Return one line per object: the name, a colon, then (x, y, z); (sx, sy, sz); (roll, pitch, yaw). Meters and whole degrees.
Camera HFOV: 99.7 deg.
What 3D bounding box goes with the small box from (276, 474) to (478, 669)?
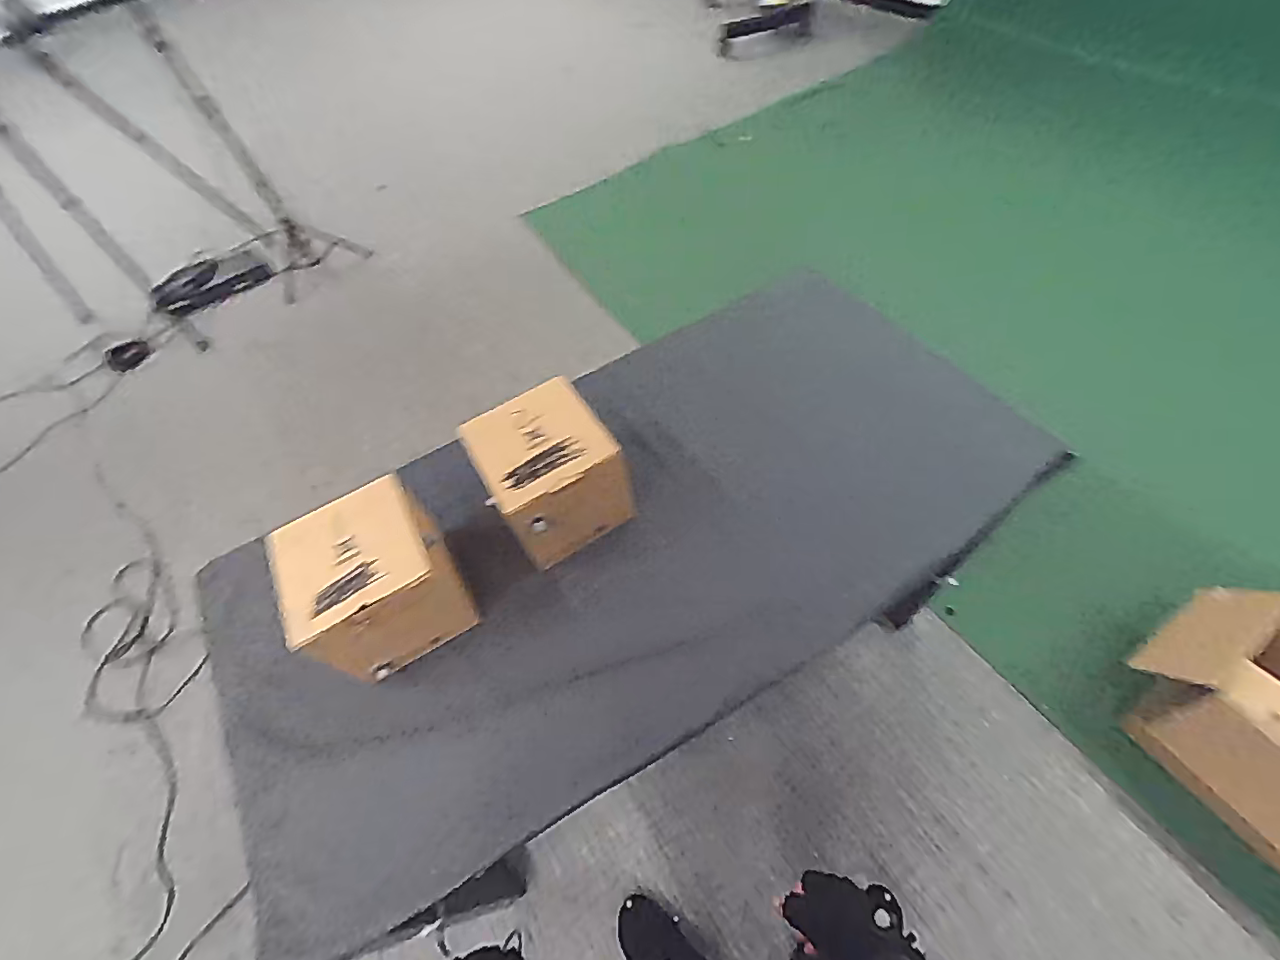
small box: (-0.343, 0.132, 0.727); (0.168, 0.176, 0.179); (-29, 57, -12)
